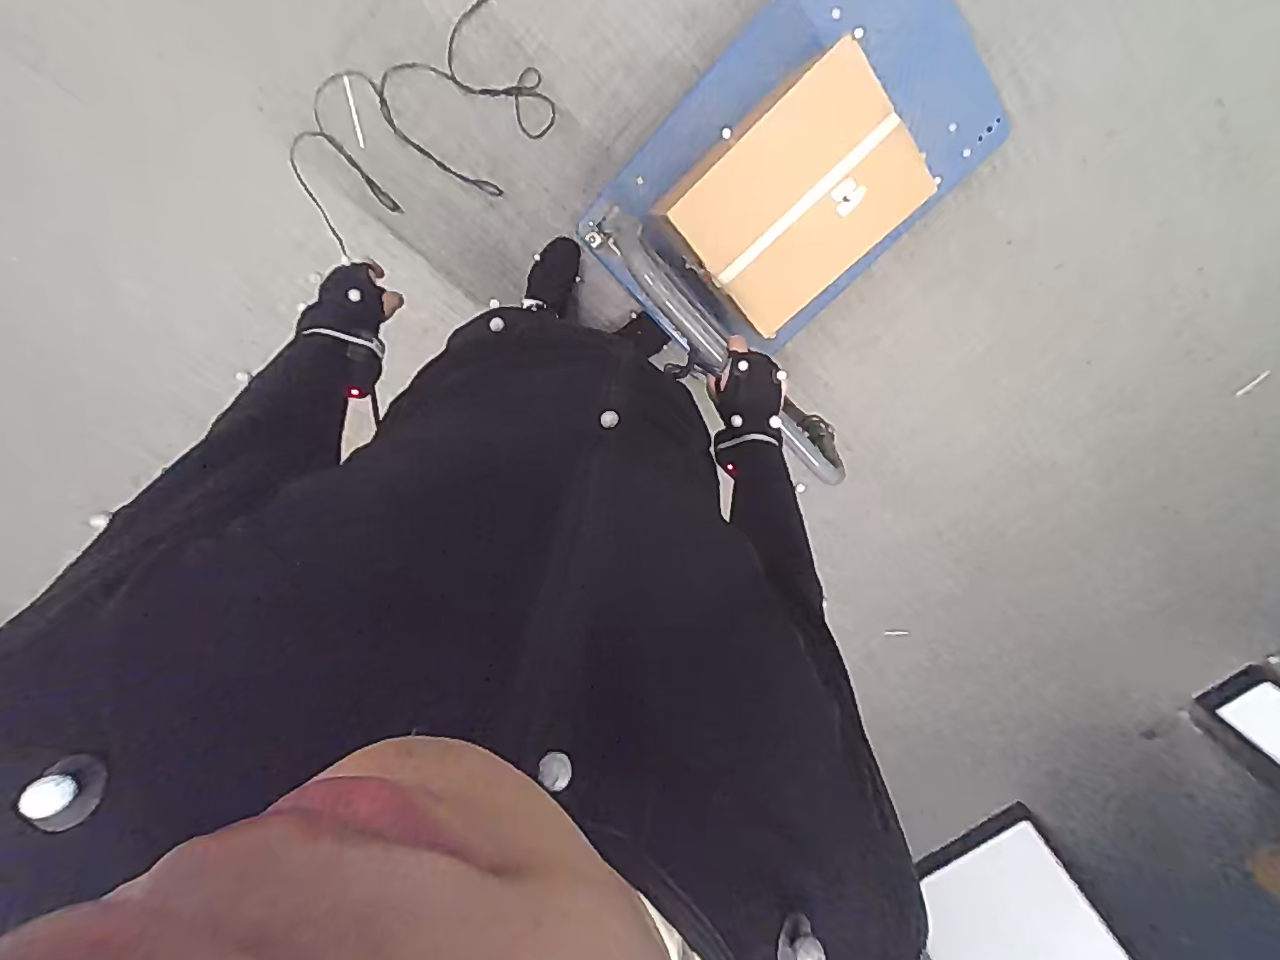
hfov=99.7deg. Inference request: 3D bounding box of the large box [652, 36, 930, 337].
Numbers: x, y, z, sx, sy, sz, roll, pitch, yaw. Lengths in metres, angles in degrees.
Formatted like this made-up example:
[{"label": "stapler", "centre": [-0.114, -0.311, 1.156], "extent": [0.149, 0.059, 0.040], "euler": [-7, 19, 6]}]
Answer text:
[{"label": "large box", "centre": [0.280, -0.572, 1.124], "extent": [0.408, 0.320, 0.320], "euler": [-40, 114, 13]}]
